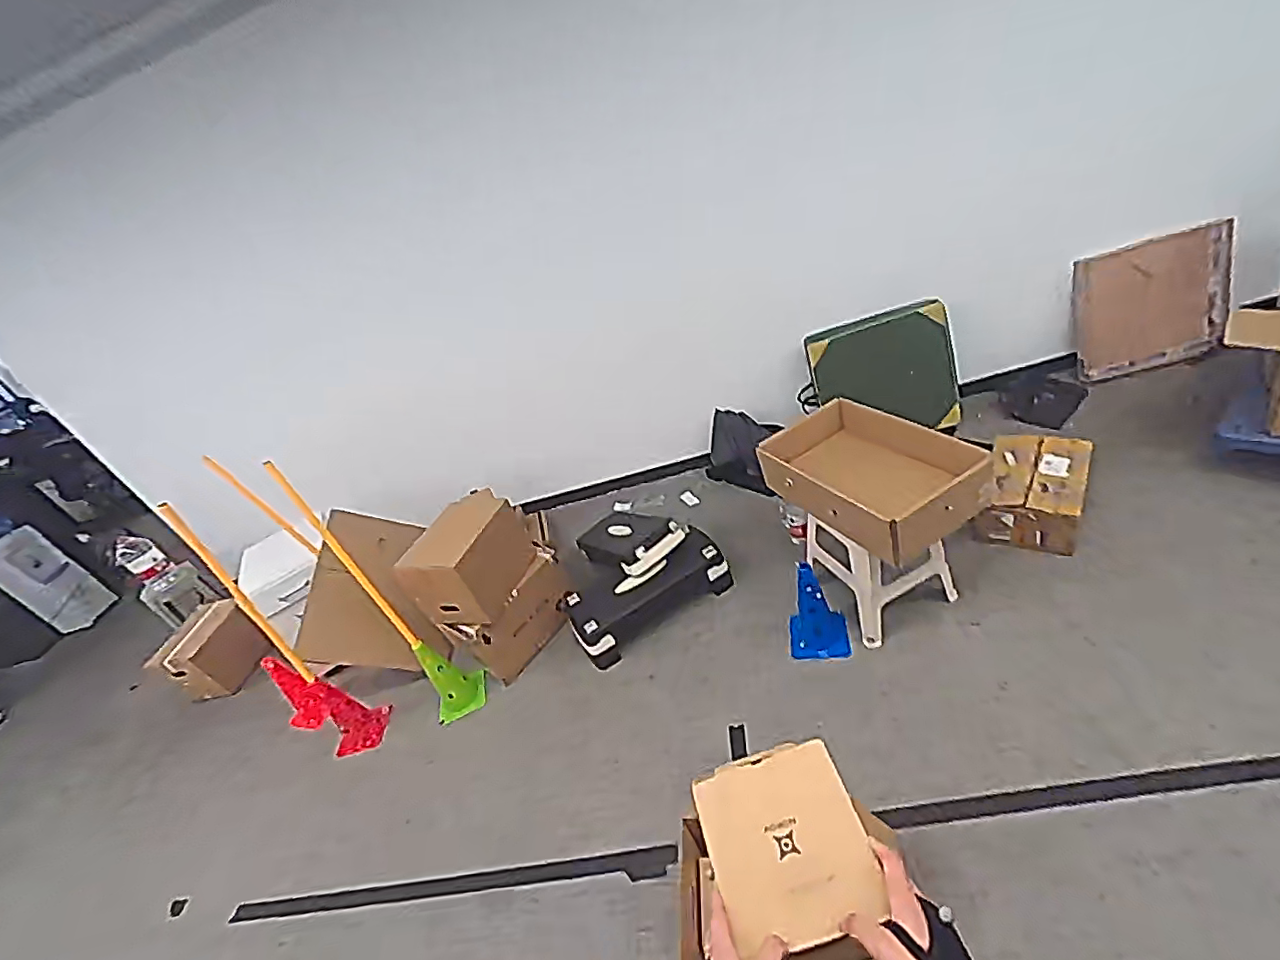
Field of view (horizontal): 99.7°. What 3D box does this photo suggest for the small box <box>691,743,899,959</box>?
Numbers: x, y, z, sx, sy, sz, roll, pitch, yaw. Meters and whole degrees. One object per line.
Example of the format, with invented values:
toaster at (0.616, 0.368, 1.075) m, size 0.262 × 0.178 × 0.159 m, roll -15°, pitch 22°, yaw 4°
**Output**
small box at (0.170, 0.447, 0.622) m, size 0.168 × 0.176 × 0.179 m, roll -19°, pitch 37°, yaw 0°
